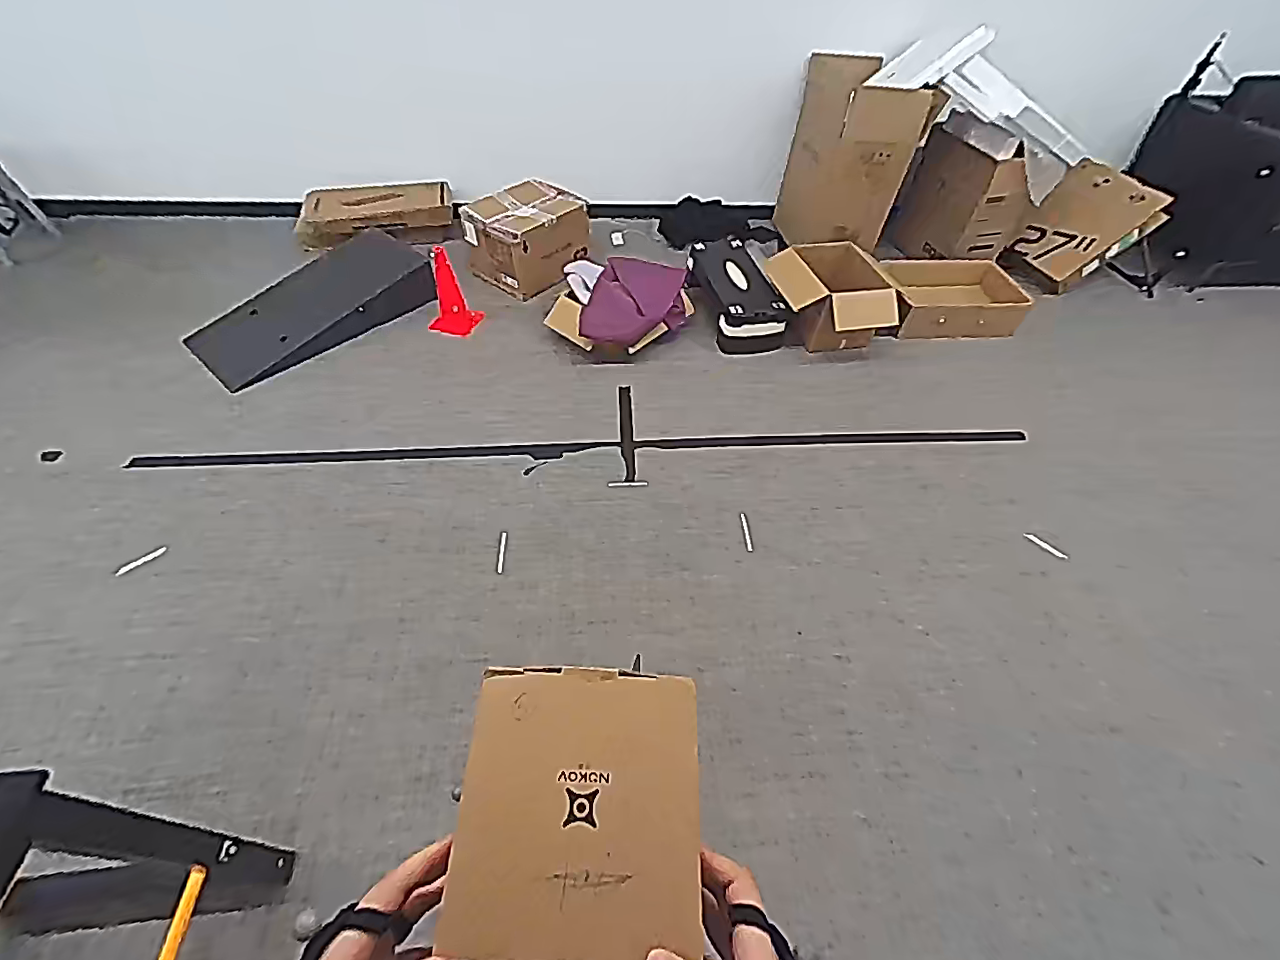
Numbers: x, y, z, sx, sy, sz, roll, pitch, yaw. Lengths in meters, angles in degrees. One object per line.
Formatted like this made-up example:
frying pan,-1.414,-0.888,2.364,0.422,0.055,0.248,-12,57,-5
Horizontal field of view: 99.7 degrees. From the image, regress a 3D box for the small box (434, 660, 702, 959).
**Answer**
small box,-0.048,0.260,0.437,0.168,0.176,0.179,4,57,-3
